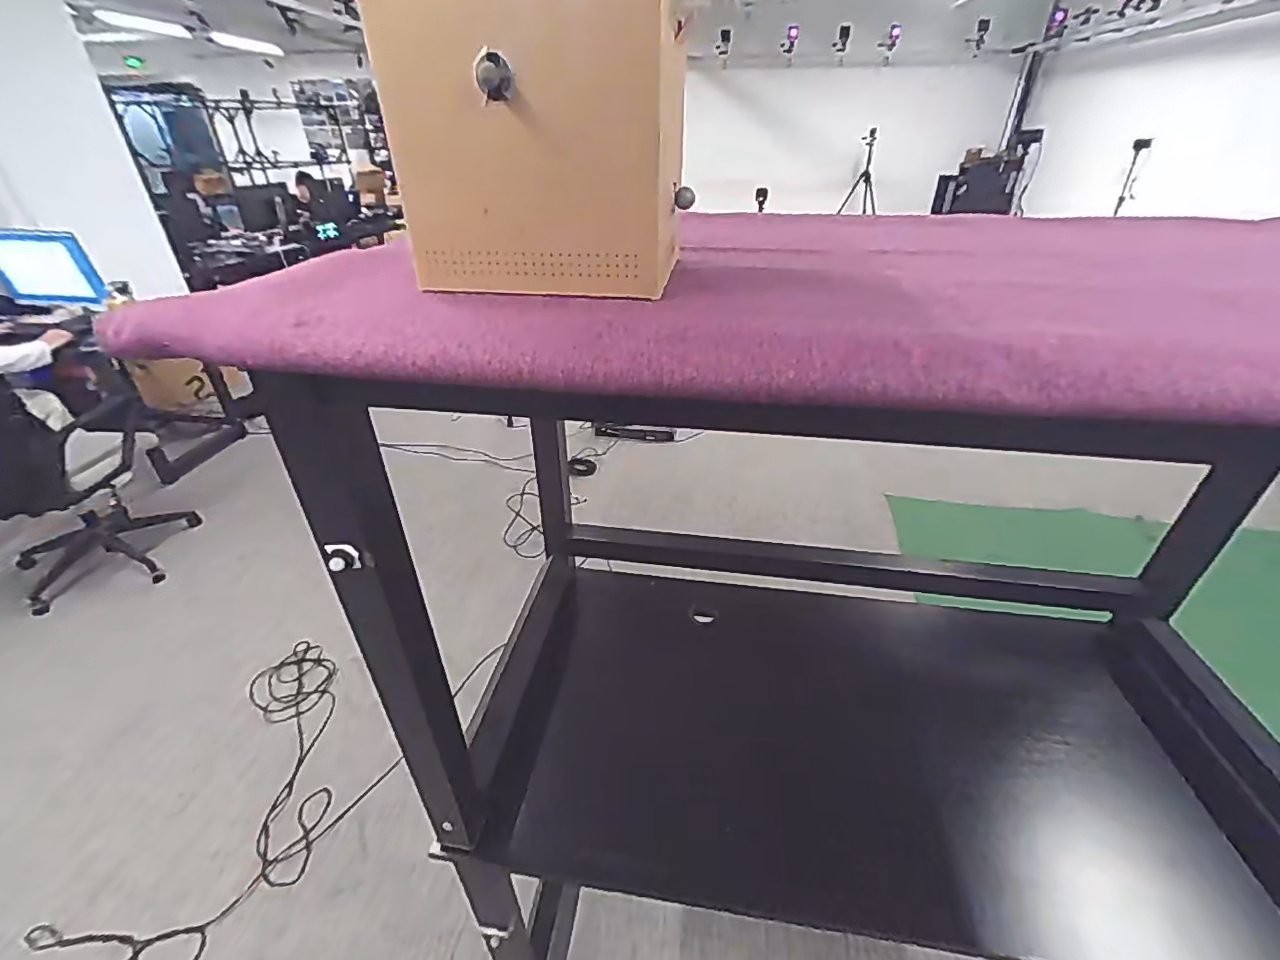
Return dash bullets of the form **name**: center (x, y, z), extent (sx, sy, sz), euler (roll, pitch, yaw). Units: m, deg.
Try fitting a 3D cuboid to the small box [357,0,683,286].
- **small box**: center (-0.064, -0.245, 0.392), extent (0.179, 0.176, 0.168), euler (4, 34, 7)
